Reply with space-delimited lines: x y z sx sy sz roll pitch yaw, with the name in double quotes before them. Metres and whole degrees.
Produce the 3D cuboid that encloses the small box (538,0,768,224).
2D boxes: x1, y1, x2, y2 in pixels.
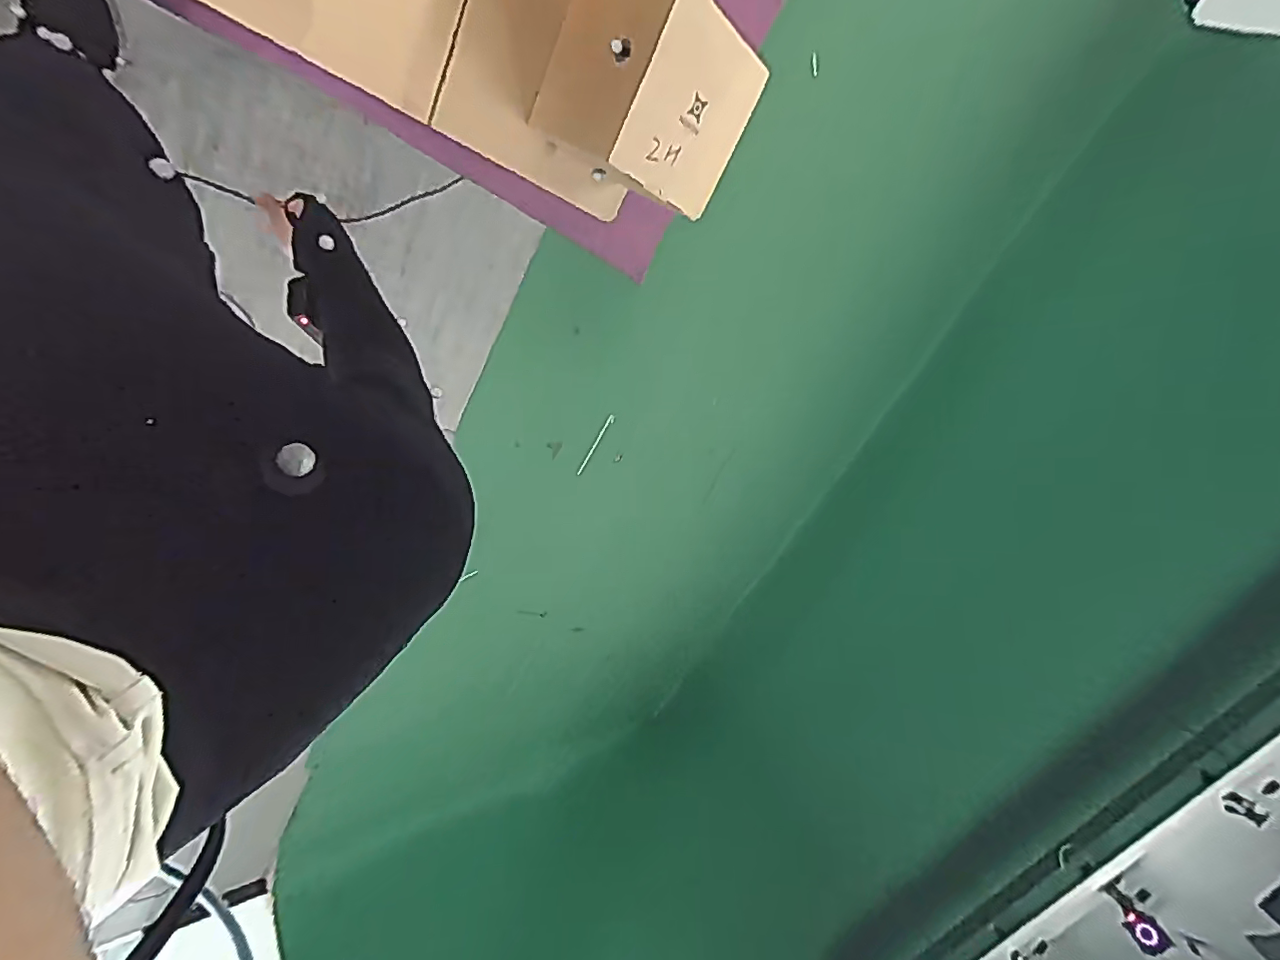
"small box" 0.008 -0.440 0.628 0.168 0.176 0.179 2 124 -50
